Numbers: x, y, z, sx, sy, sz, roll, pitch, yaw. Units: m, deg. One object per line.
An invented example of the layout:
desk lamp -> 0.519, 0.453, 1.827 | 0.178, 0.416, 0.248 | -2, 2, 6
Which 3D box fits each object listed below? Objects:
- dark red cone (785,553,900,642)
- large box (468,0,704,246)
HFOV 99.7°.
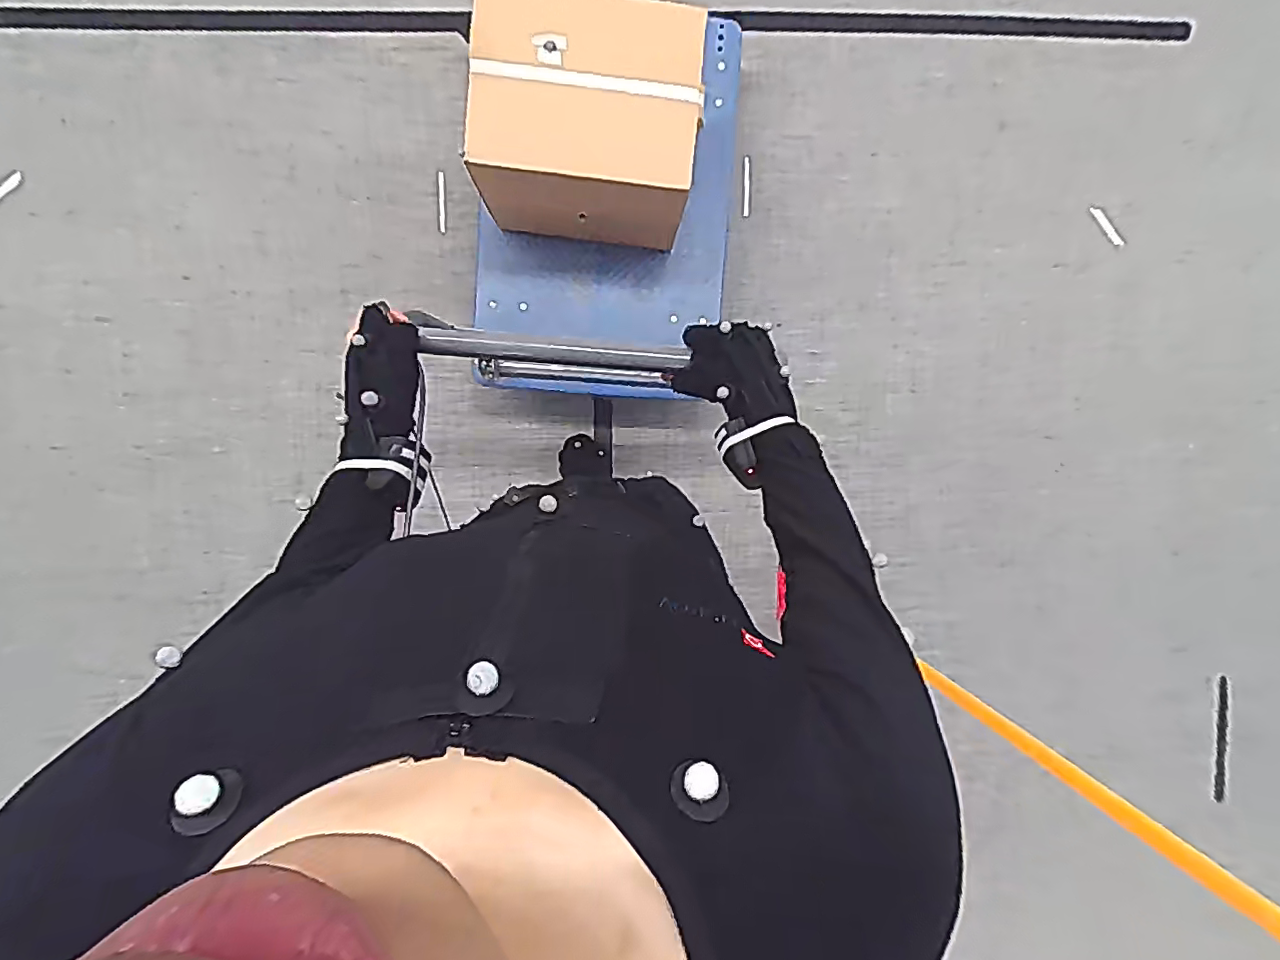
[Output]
dark red cone -> 0.507, 0.309, 1.315 | 0.201, 0.394, 0.202 | -1, 94, -4
large box -> -0.099, -0.697, 1.101 | 0.408, 0.320, 0.320 | 5, 94, -2
